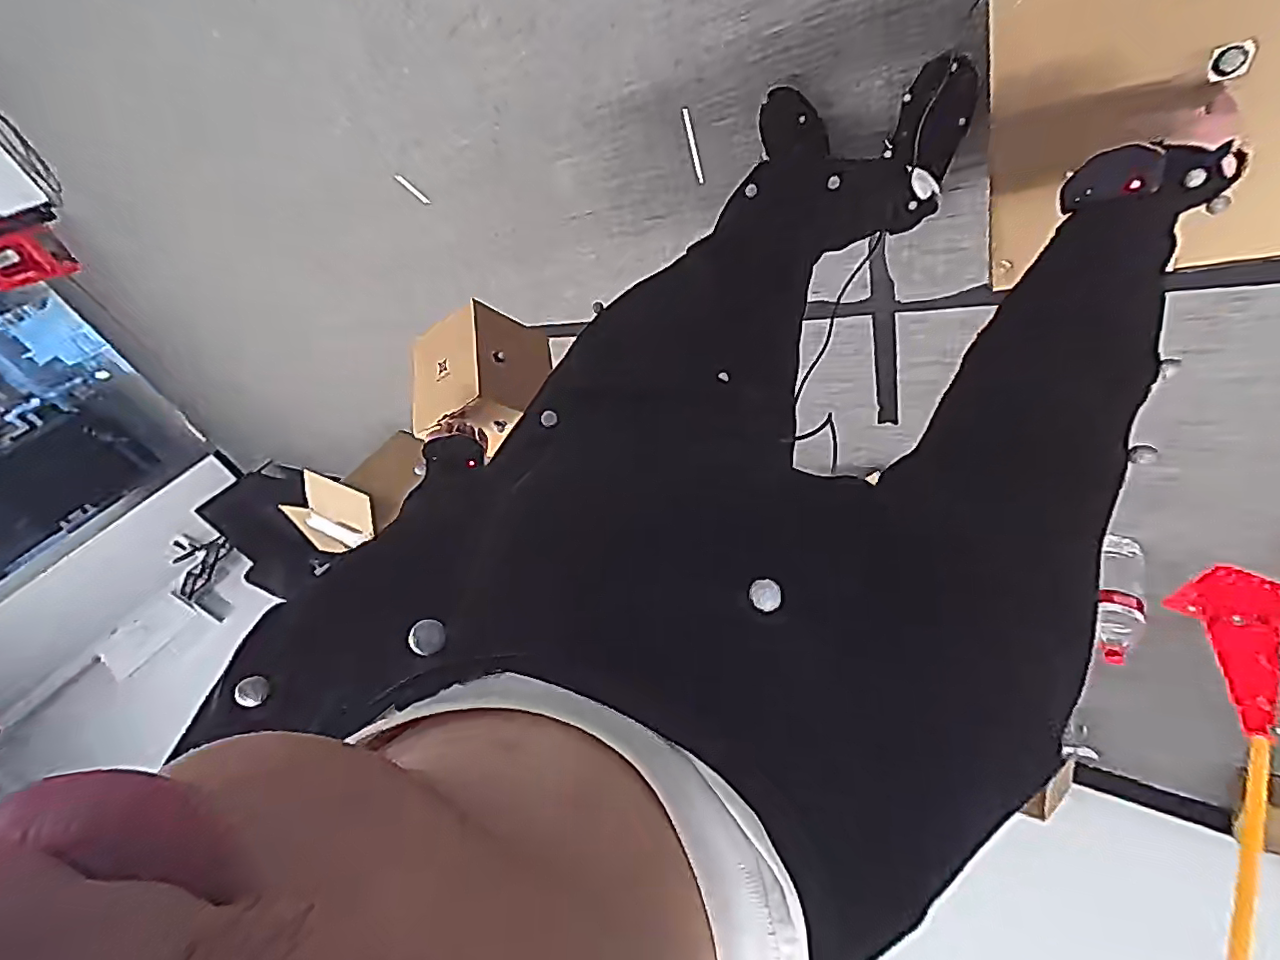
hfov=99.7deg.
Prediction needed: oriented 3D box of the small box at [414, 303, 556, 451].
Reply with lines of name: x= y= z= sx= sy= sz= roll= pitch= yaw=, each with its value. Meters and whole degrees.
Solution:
small box: x=-0.258 y=-0.159 z=0.913 sx=0.168 sy=0.179 sz=0.176 roll=-20 pitch=159 yaw=31
